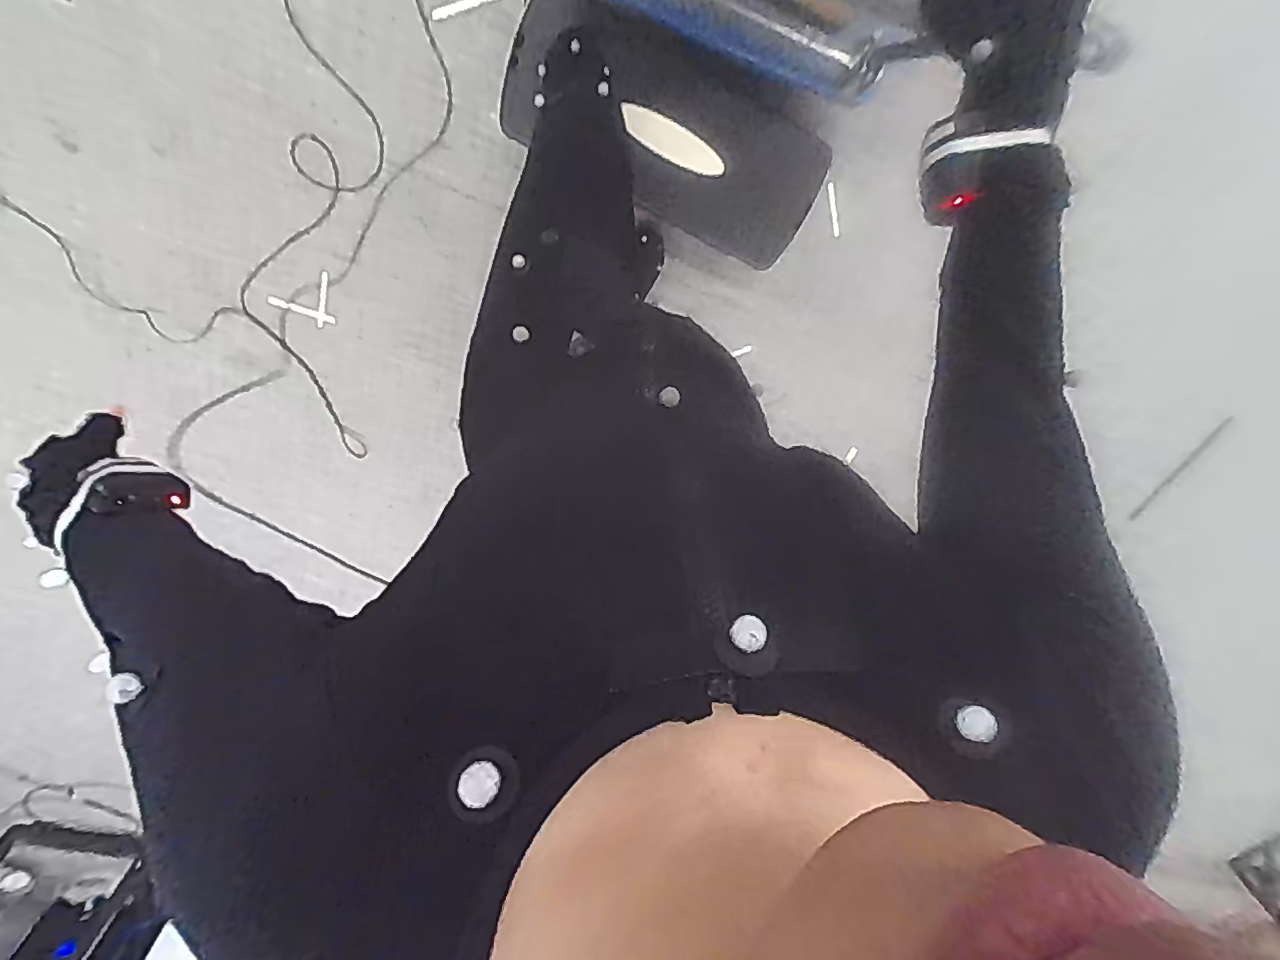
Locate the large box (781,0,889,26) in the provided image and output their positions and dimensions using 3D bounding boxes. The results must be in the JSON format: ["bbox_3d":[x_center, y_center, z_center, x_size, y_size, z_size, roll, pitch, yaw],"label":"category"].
[{"bbox_3d":[0.216,-0.876,0.696,0.408,0.320,0.320,15,120,-13],"label":"large box"}]
